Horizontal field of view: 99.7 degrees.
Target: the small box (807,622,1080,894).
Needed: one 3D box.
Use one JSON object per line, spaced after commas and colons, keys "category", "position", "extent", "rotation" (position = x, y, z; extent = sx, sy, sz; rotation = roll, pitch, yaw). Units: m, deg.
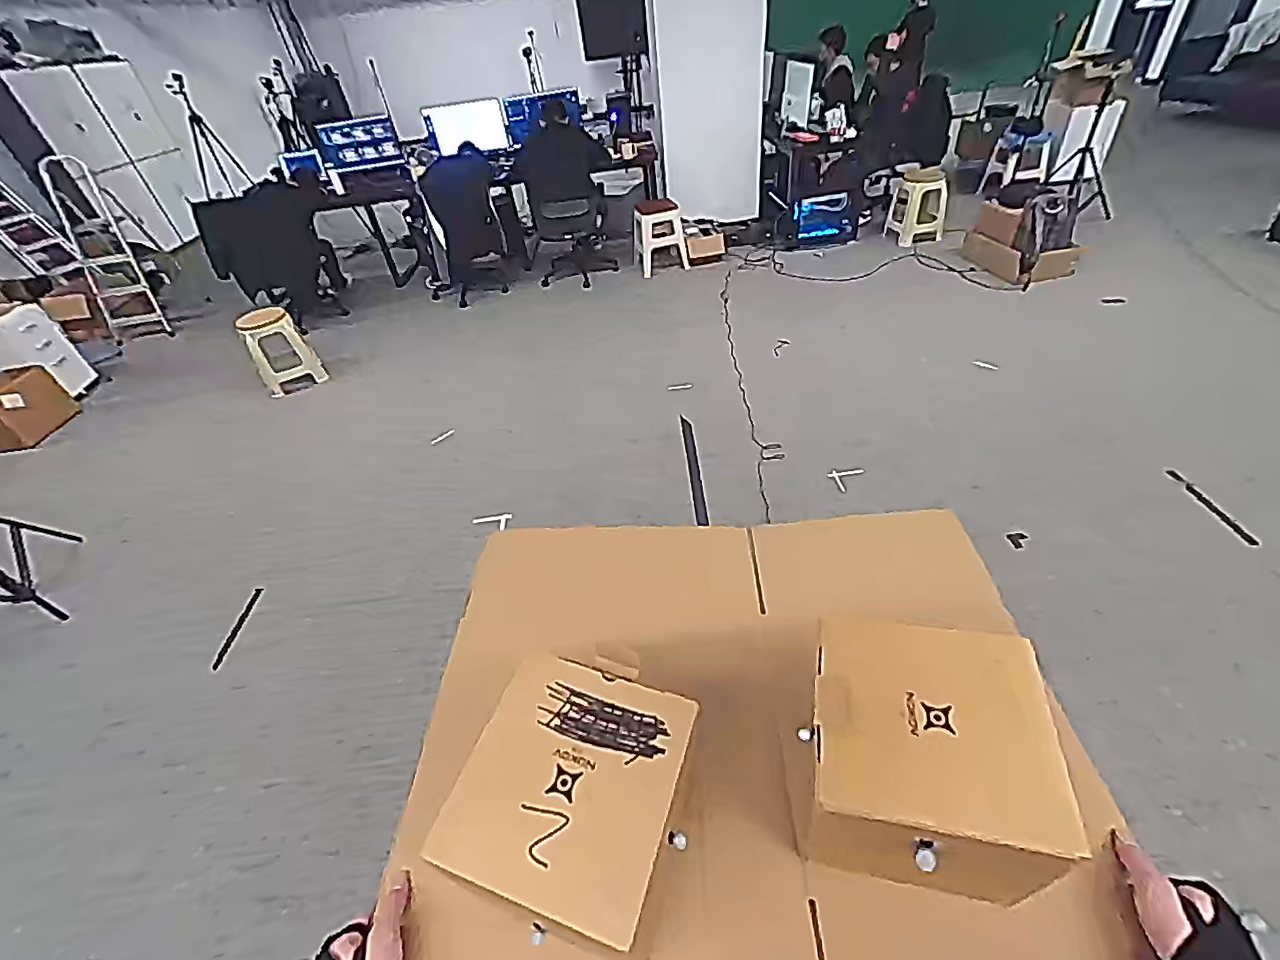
{"category": "small box", "position": [0.252, 0.255, 0.500], "extent": [0.179, 0.176, 0.168], "rotation": [2, 45, 17]}
